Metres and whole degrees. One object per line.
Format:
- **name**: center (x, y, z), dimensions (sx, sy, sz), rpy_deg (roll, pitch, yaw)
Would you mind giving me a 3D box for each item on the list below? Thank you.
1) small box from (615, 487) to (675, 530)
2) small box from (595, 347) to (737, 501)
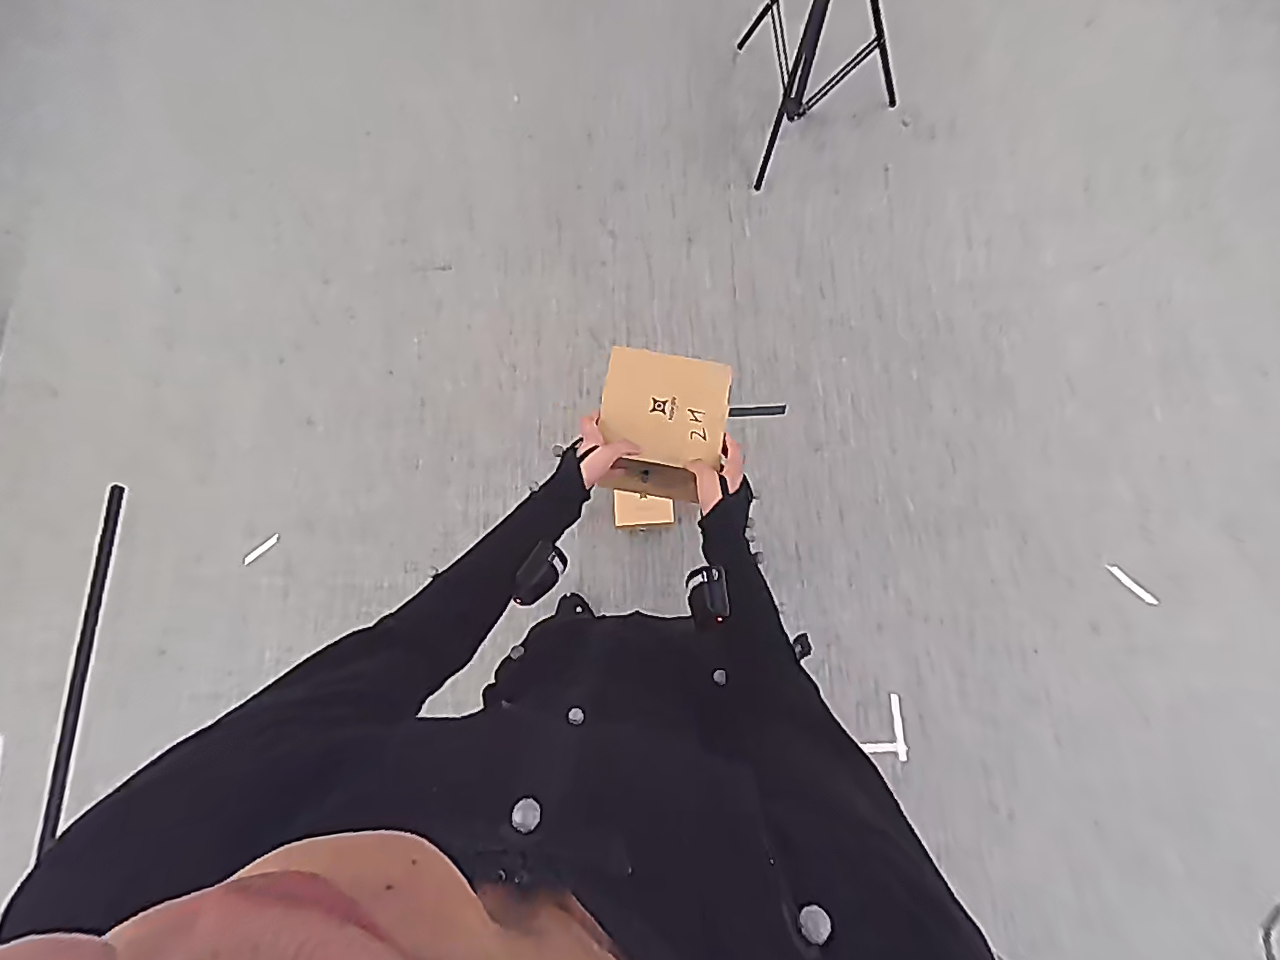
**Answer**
- **small box**: center (0.015, 0.049, 1.593), dimensions (0.168, 0.176, 0.179), rpy_deg (-4, 79, 3)
- **small box**: center (0.034, -0.075, 0.816), dimensions (0.179, 0.176, 0.168), rpy_deg (11, 74, 0)
